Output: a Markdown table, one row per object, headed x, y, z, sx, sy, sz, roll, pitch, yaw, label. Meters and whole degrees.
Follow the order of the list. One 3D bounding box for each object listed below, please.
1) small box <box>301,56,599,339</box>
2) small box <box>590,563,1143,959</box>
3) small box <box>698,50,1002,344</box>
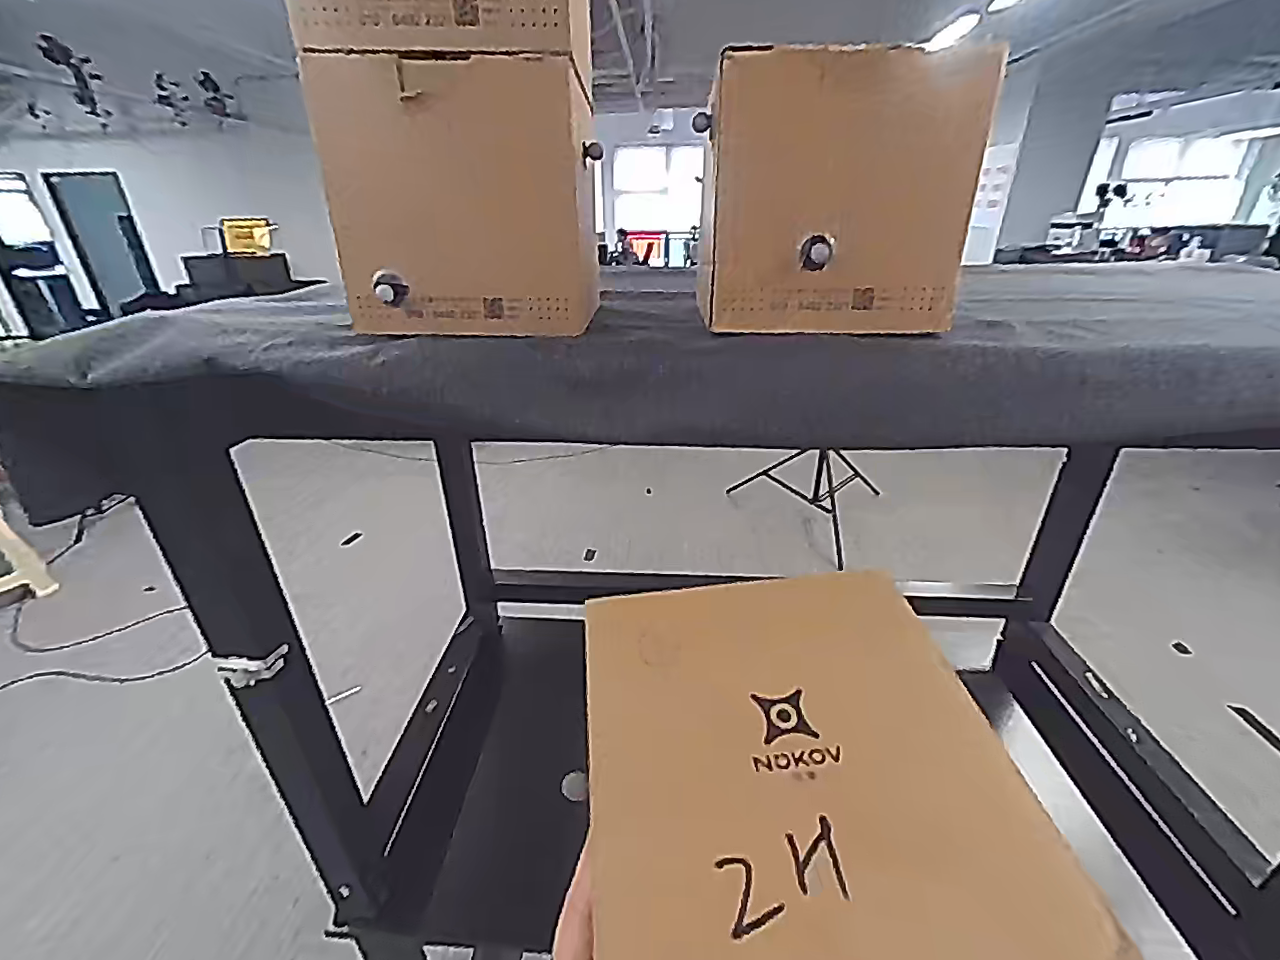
| x | y | z | sx | sy | sz | roll | pitch | yaw | label |
| --- | --- | --- | --- | --- | --- | --- | --- | --- | --- |
| -0.122 | -0.210 | 0.432 | 0.168 | 0.176 | 0.179 | 1 | 24 | 0 | small box |
| 0.064 | 0.167 | 0.268 | 0.168 | 0.176 | 0.179 | -6 | 37 | -3 | small box |
| 0.134 | -0.208 | 0.425 | 0.168 | 0.176 | 0.179 | 0 | 24 | 3 | small box |
